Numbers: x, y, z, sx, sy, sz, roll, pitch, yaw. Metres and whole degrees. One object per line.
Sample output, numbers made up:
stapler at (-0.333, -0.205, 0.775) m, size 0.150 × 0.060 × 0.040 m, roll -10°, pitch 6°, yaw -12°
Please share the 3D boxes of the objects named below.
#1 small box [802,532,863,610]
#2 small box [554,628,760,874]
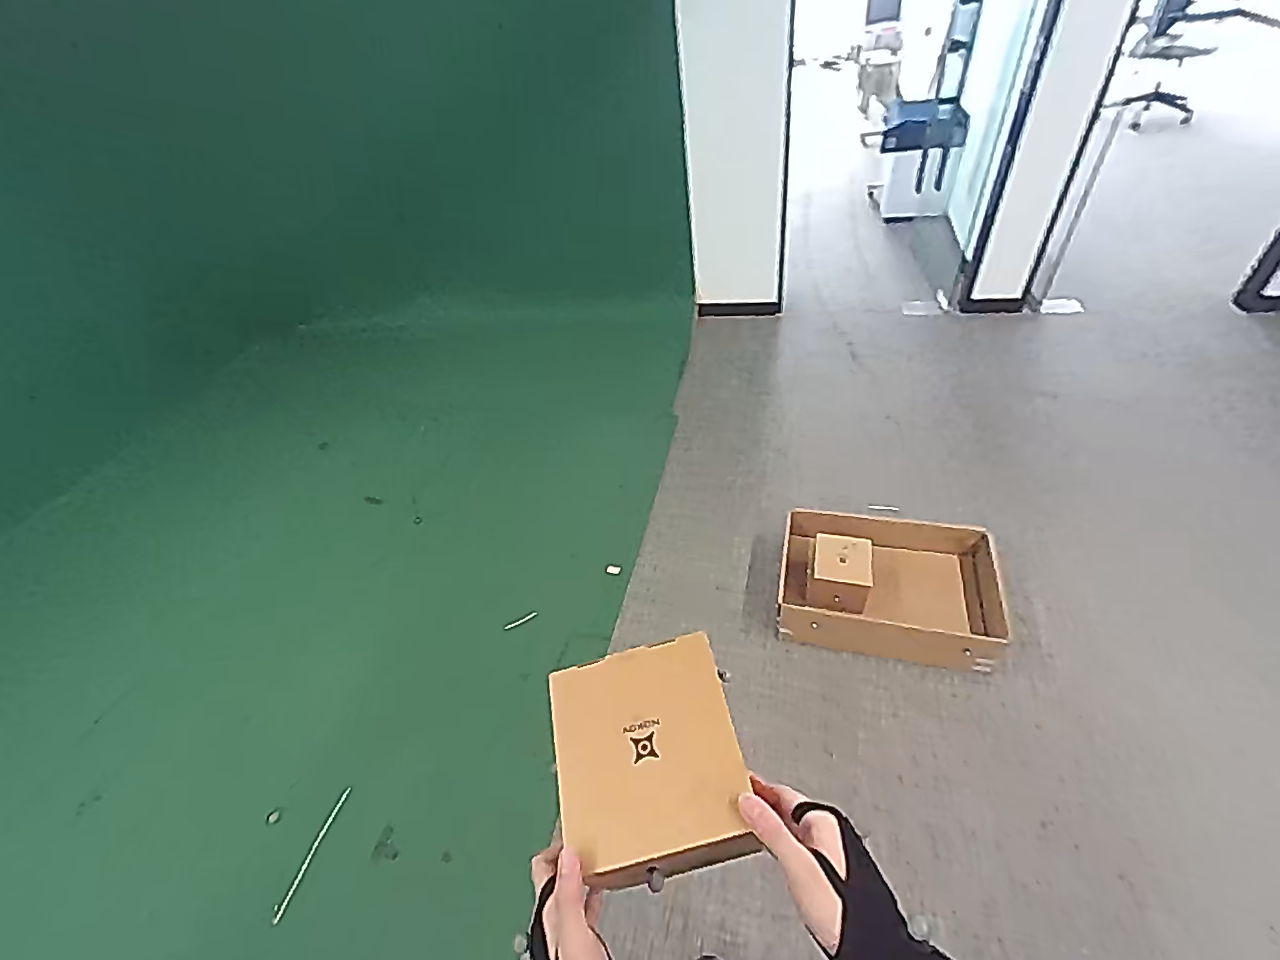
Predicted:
small box at (0.616, 0.292, 1.731) m, size 0.168 × 0.176 × 0.179 m, roll 7°, pitch 48°, yaw 15°
small box at (0.021, 0.286, 0.560) m, size 0.168 × 0.176 × 0.179 m, roll -16°, pitch 48°, yaw 0°
